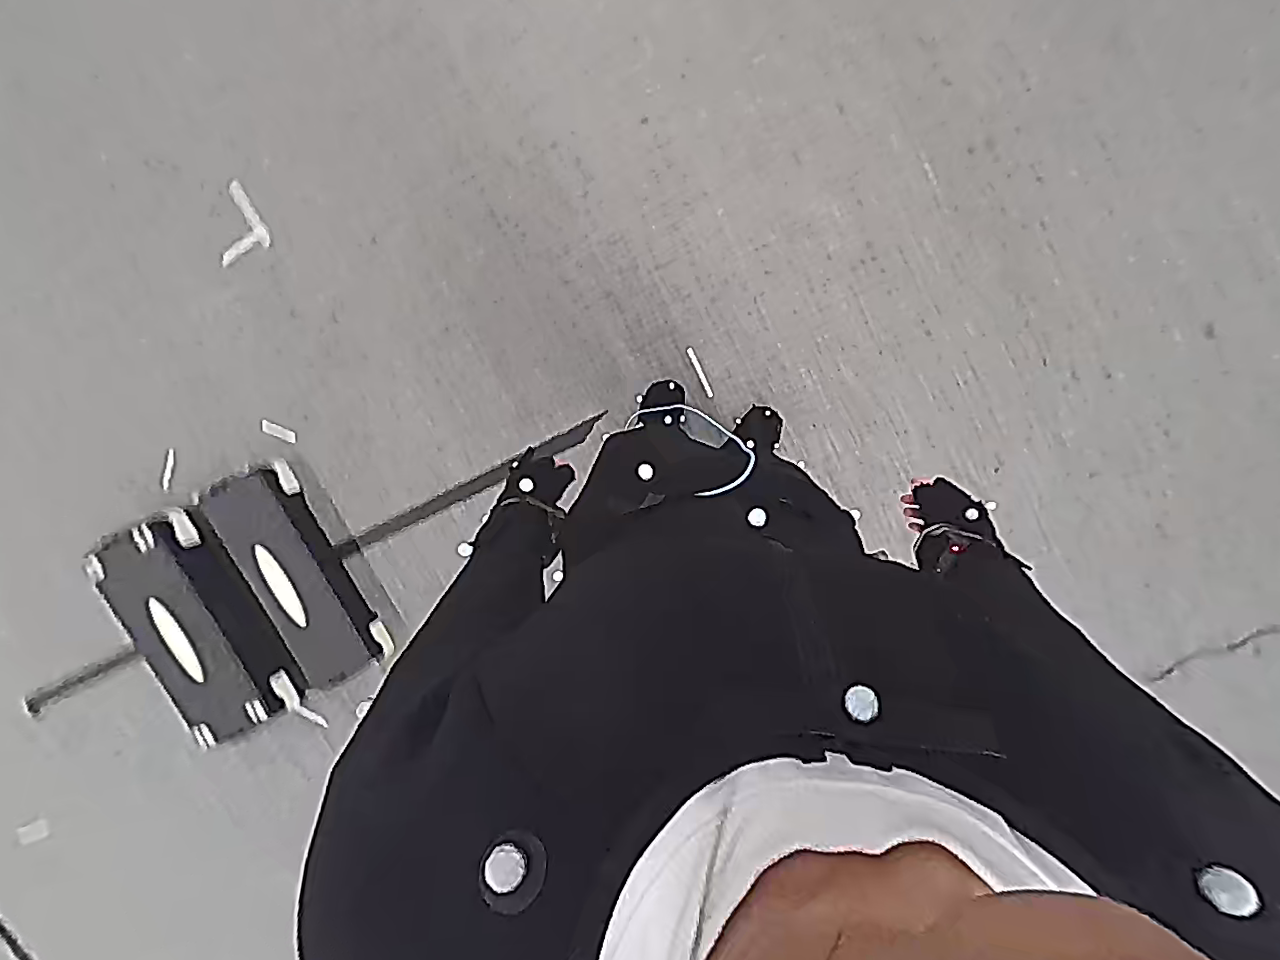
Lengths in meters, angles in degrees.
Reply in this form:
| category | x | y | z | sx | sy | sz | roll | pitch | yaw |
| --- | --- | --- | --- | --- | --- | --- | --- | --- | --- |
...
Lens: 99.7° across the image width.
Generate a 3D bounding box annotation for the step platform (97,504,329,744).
| category | x | y | z | sx | sy | sz | roll | pitch | yaw |
| --- | --- | --- | --- | --- | --- | --- | --- | --- | --- |
| step platform | -1.247 | 0.426 | 1.598 | 0.286 | 0.204 | 0.684 | -27 | 96 | 10 |
